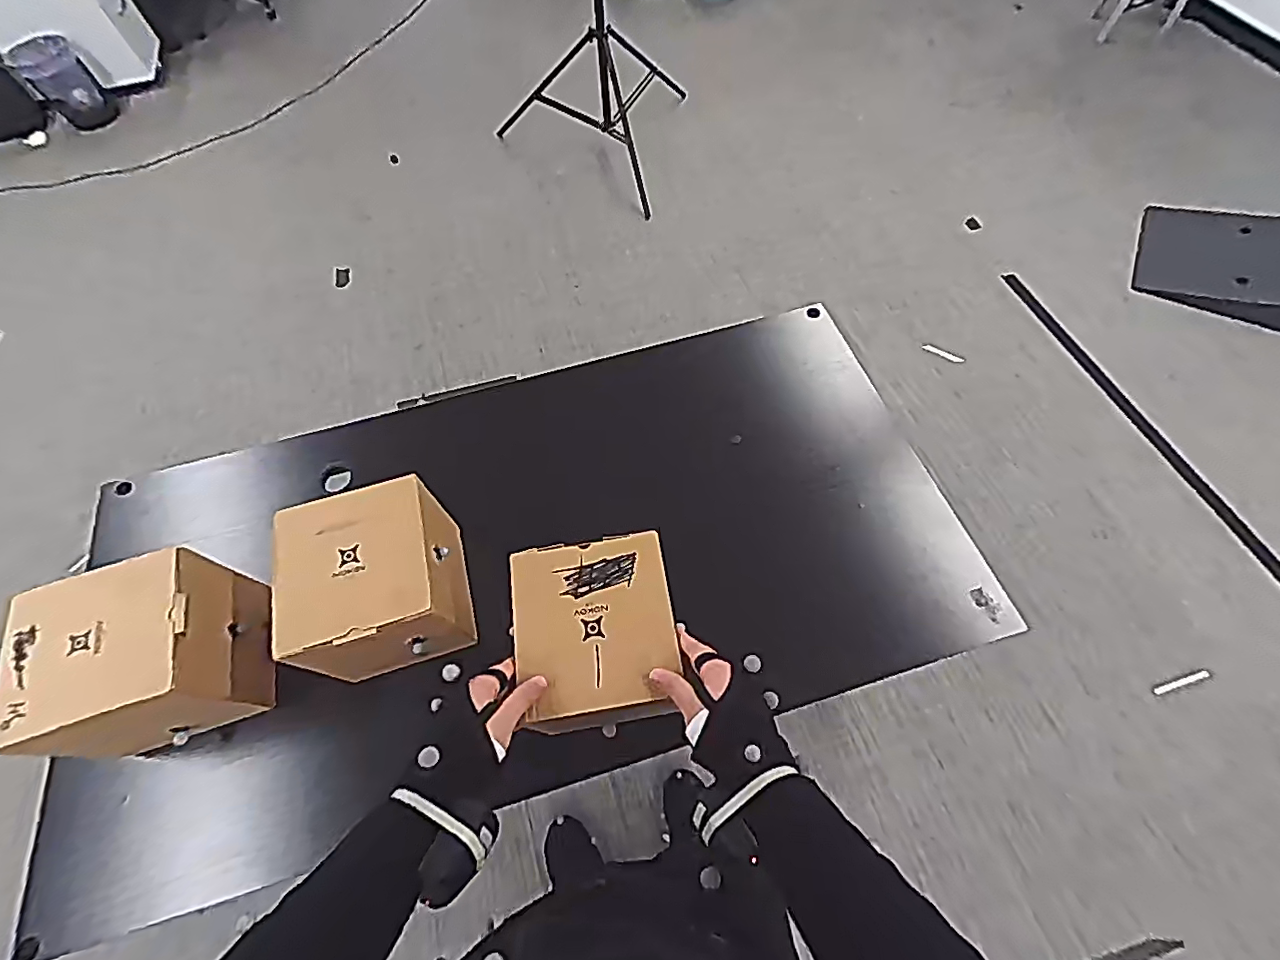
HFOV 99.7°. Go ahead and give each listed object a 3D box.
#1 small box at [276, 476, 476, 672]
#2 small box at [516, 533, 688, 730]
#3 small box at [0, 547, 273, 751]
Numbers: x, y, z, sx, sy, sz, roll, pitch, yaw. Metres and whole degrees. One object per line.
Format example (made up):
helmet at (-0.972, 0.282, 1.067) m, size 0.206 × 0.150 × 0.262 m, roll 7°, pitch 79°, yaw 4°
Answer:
small box at (-0.315, 0.125, 0.669) m, size 0.168 × 0.176 × 0.179 m, roll -16°, pitch 62°, yaw -8°
small box at (-0.044, 0.181, 0.628) m, size 0.168 × 0.176 × 0.179 m, roll -8°, pitch 63°, yaw -2°
small box at (-0.563, 0.203, 0.634) m, size 0.179 × 0.176 × 0.168 m, roll -17°, pitch 63°, yaw -9°
